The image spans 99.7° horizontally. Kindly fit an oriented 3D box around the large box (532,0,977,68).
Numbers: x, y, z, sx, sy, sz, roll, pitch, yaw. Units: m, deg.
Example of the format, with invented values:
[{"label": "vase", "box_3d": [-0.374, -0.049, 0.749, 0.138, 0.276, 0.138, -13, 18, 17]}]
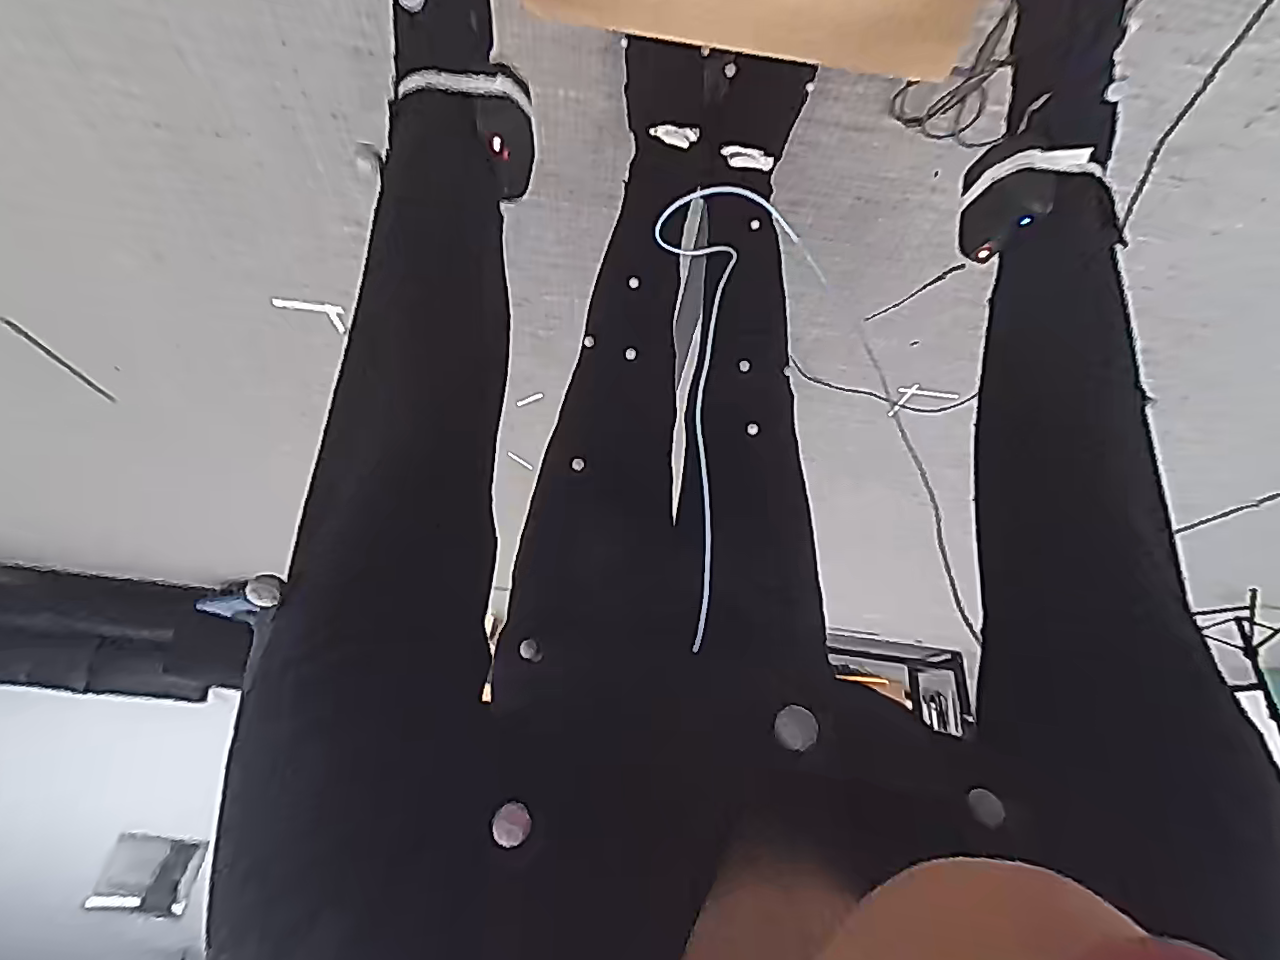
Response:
[{"label": "large box", "box_3d": [0.119, -0.618, 0.448, 0.408, 0.320, 0.320, 7, 153, -2]}]
